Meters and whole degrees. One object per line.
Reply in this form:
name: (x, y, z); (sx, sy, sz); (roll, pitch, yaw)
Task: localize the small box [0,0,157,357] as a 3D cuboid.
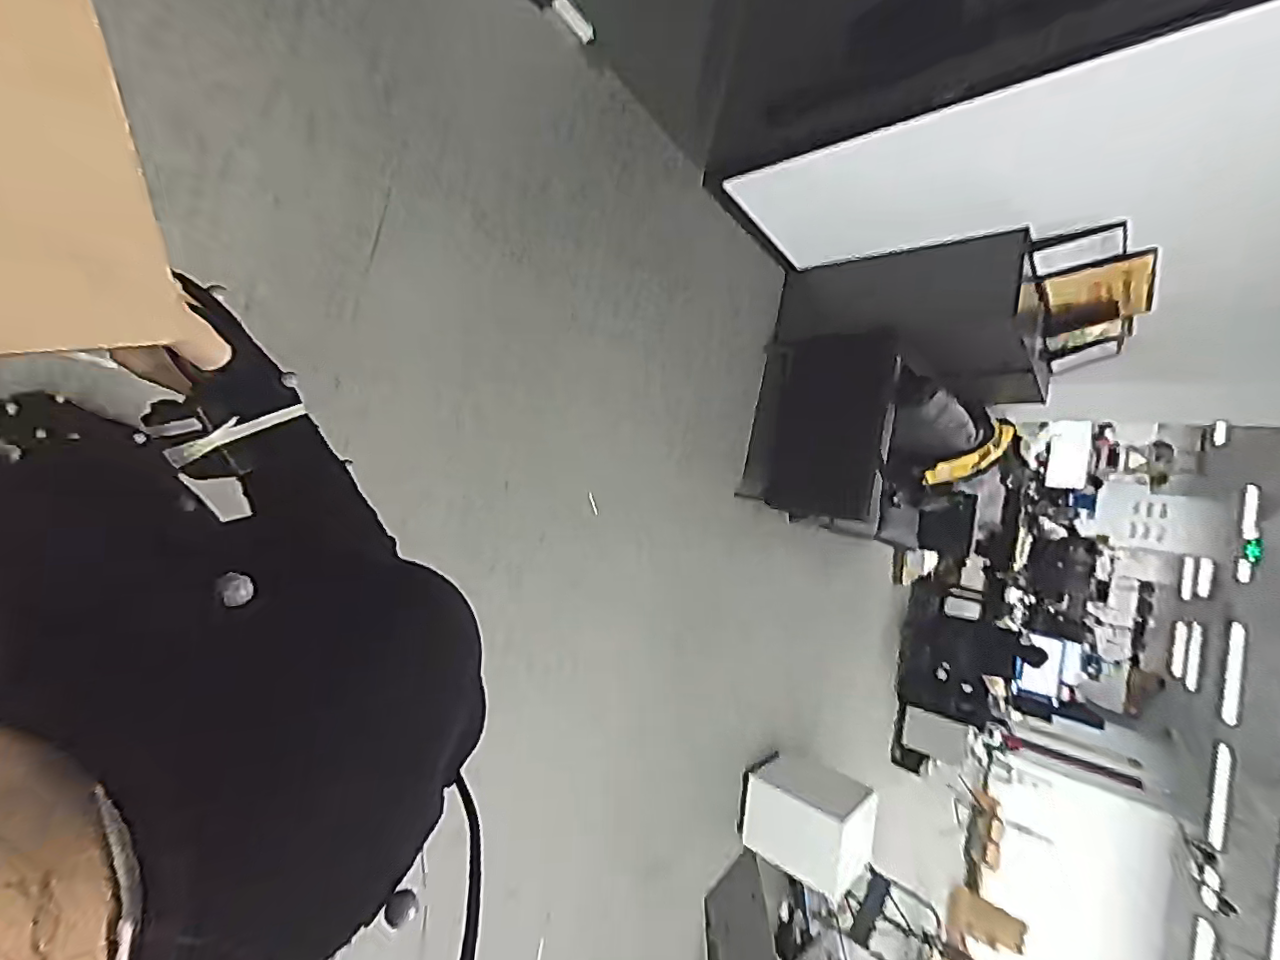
small box: (-0.384, -0.148, 0.254); (0.168, 0.176, 0.179); (-29, 122, -56)
